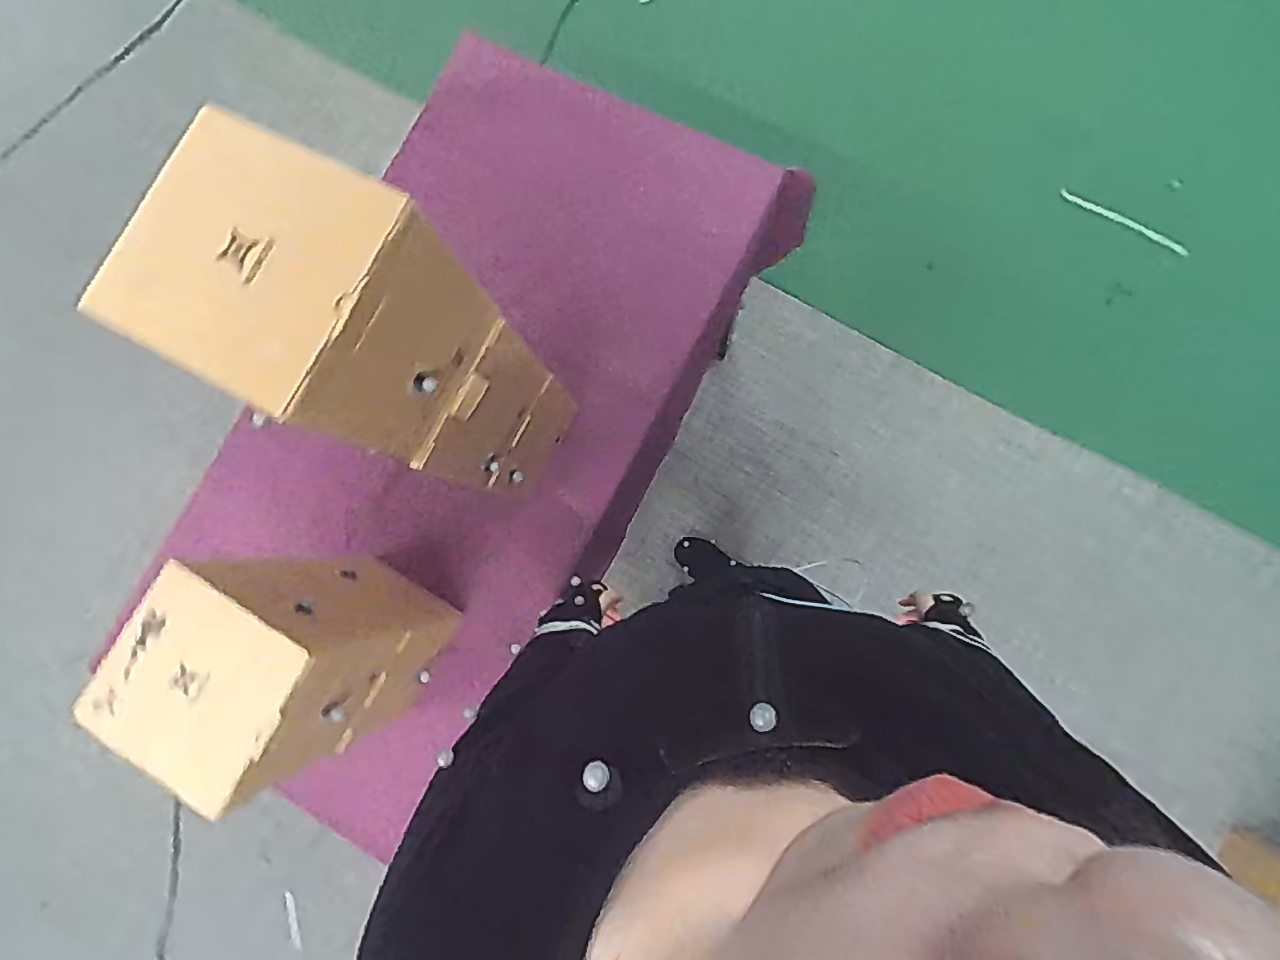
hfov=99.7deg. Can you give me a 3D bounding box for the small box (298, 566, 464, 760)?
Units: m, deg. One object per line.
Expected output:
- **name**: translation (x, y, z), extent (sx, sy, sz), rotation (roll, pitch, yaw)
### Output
- **small box**: translation (-0.375, 0.230, 0.726), extent (0.179, 0.176, 0.168), rotation (28, 85, 8)

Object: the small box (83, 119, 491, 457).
- **small box**: translation (-0.254, -0.132, 0.436), extent (0.179, 0.176, 0.168), rotation (26, 85, 8)

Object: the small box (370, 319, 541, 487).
- **small box**: translation (-0.233, -0.103, 0.594), extent (0.179, 0.176, 0.168), rotation (27, 85, 9)

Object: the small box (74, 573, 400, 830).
- **small box**: translation (-0.392, 0.205, 0.563), extent (0.179, 0.176, 0.168), rotation (28, 84, 7)
